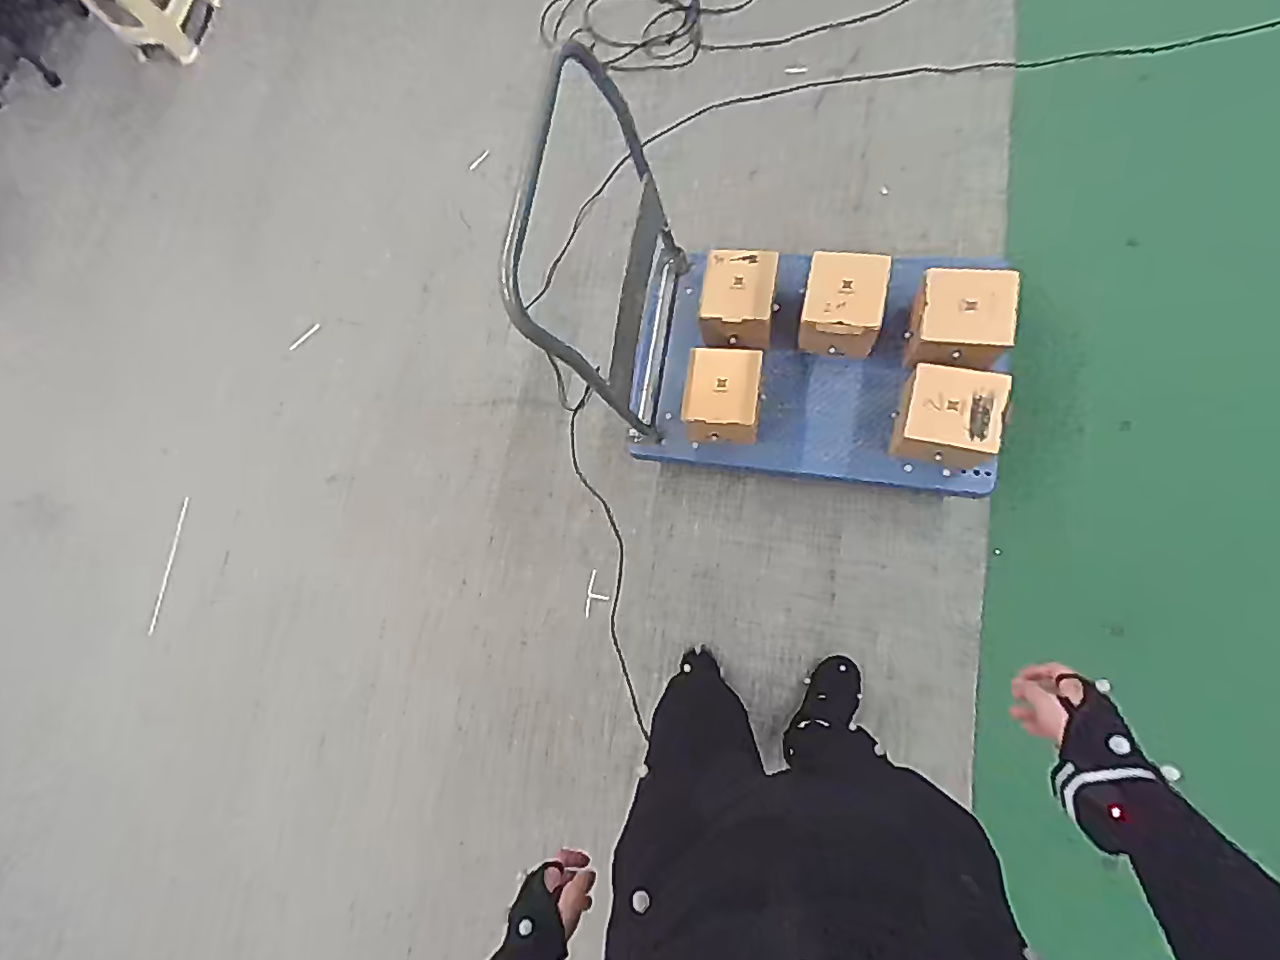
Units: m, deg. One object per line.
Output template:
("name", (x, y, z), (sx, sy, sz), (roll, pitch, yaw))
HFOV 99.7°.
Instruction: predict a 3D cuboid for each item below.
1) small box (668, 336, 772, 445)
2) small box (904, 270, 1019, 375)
("small box", (0.197, -0.206, 1.298), (0.179, 0.176, 0.168), (39, 91, 18))
("small box", (0.703, -0.344, 1.201), (0.179, 0.176, 0.168), (9, 82, 15))
